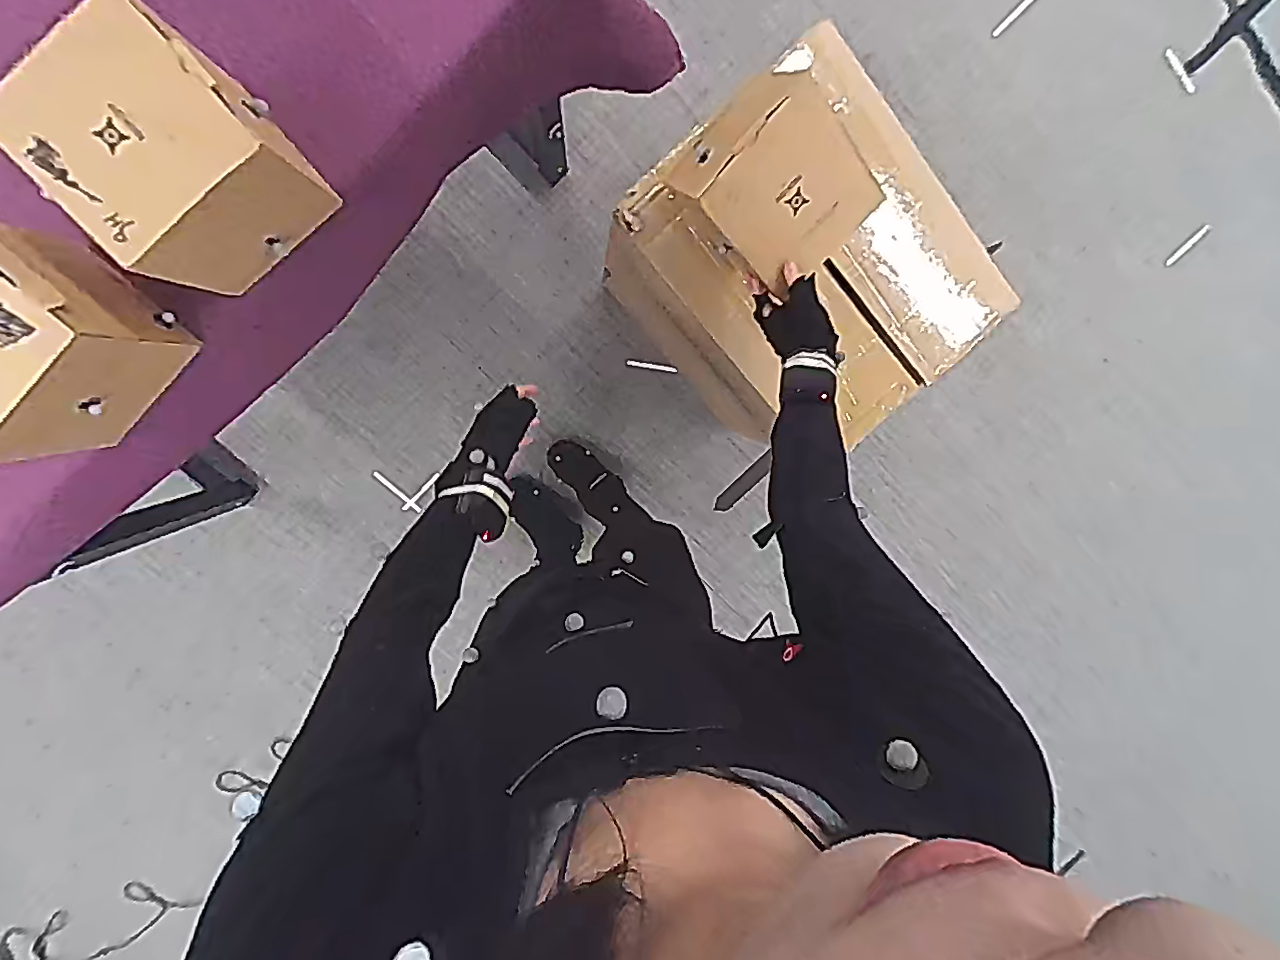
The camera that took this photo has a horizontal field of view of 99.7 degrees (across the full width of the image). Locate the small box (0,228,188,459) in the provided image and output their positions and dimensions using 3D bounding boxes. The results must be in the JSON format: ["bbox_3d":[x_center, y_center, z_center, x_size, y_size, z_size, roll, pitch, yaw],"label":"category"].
[{"bbox_3d":[-0.639,-0.146,0.569,0.168,0.176,0.179,44,95,-10],"label":"small box"}]

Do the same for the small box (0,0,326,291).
[{"bbox_3d":[-0.463,-0.324,0.556,0.179,0.176,0.168,-40,100,1],"label":"small box"}]

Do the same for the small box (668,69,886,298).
[{"bbox_3d":[0.160,-0.368,0.679,0.179,0.176,0.168,34,112,-32],"label":"small box"}]
